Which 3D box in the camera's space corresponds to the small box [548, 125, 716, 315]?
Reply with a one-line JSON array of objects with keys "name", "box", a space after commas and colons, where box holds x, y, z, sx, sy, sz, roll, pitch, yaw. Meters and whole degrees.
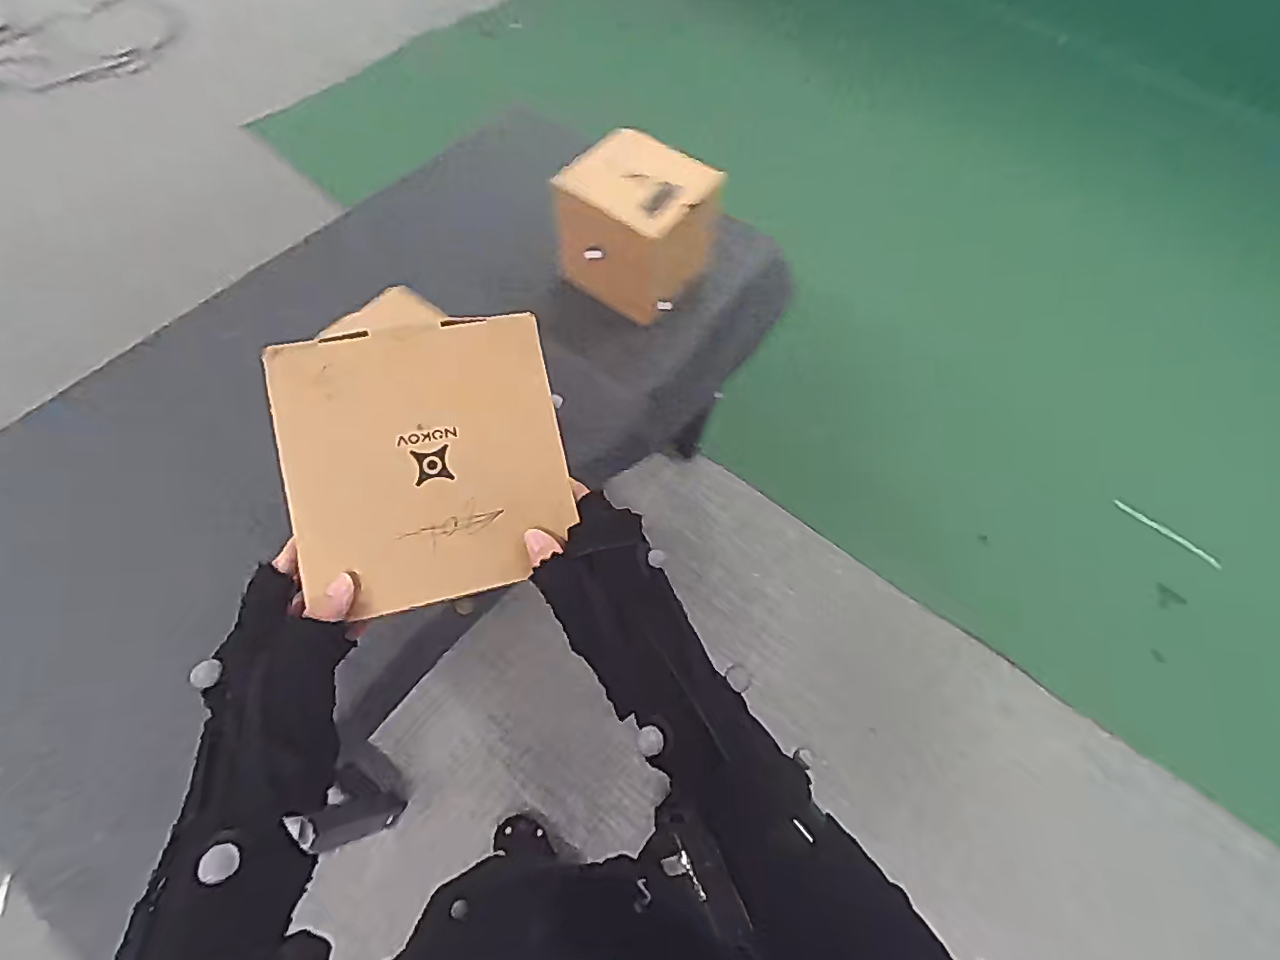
[{"name": "small box", "box": [-0.013, -0.379, 0.812, 0.179, 0.176, 0.168, 35, 67, 14]}]
